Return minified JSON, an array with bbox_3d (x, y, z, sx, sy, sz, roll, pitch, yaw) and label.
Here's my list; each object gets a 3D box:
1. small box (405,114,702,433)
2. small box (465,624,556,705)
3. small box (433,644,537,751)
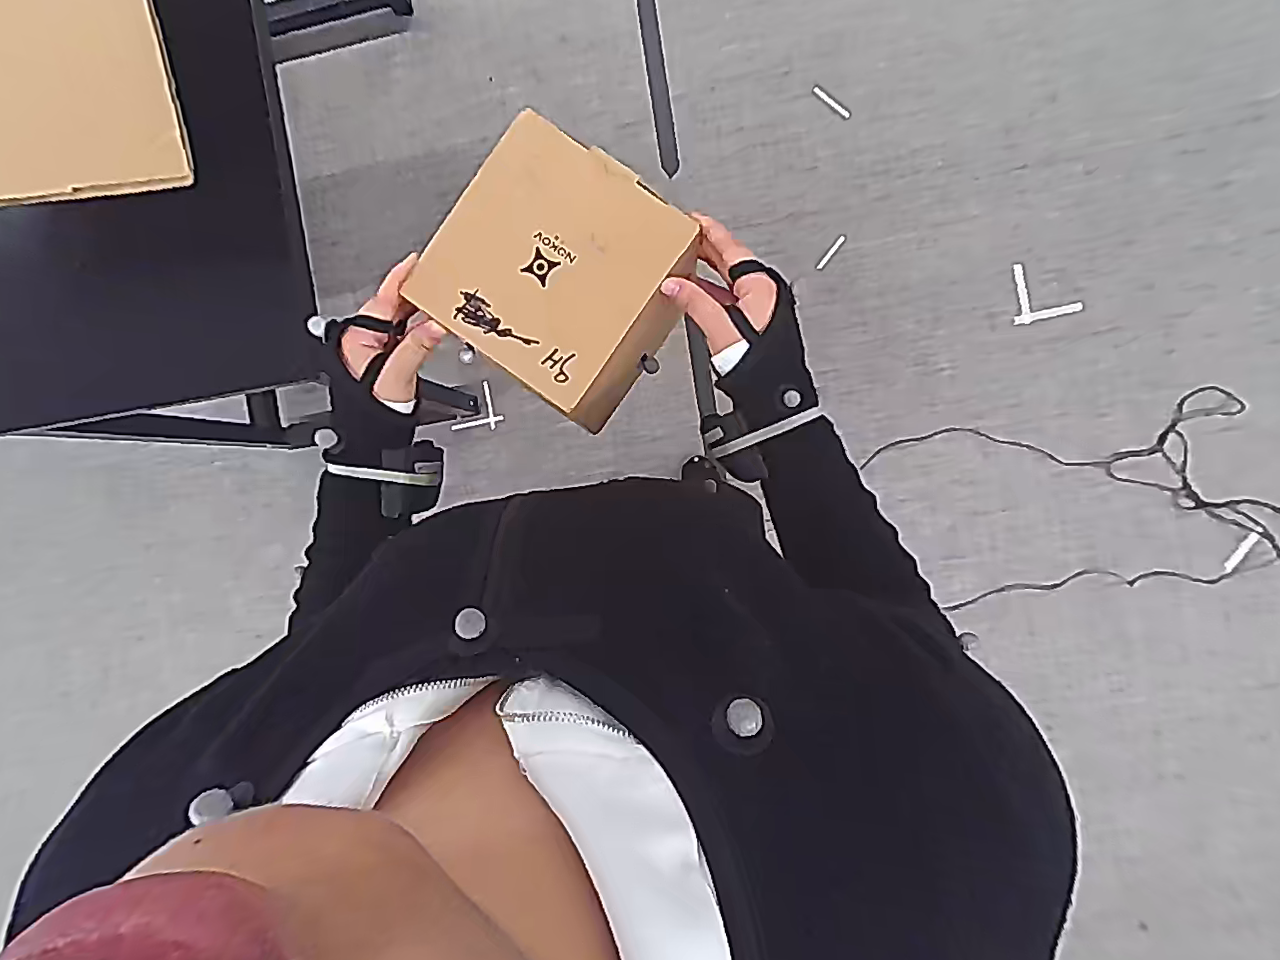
[{"bbox_3d":[-0.065,-0.164,0.490,0.168,0.176,0.179,36,89,4],"label":"small box"},{"bbox_3d":[-0.342,0.503,1.452,0.179,0.176,0.168,-13,90,3],"label":"small box"},{"bbox_3d":[-0.359,0.509,1.291,0.179,0.176,0.168,-16,89,5],"label":"small box"}]
